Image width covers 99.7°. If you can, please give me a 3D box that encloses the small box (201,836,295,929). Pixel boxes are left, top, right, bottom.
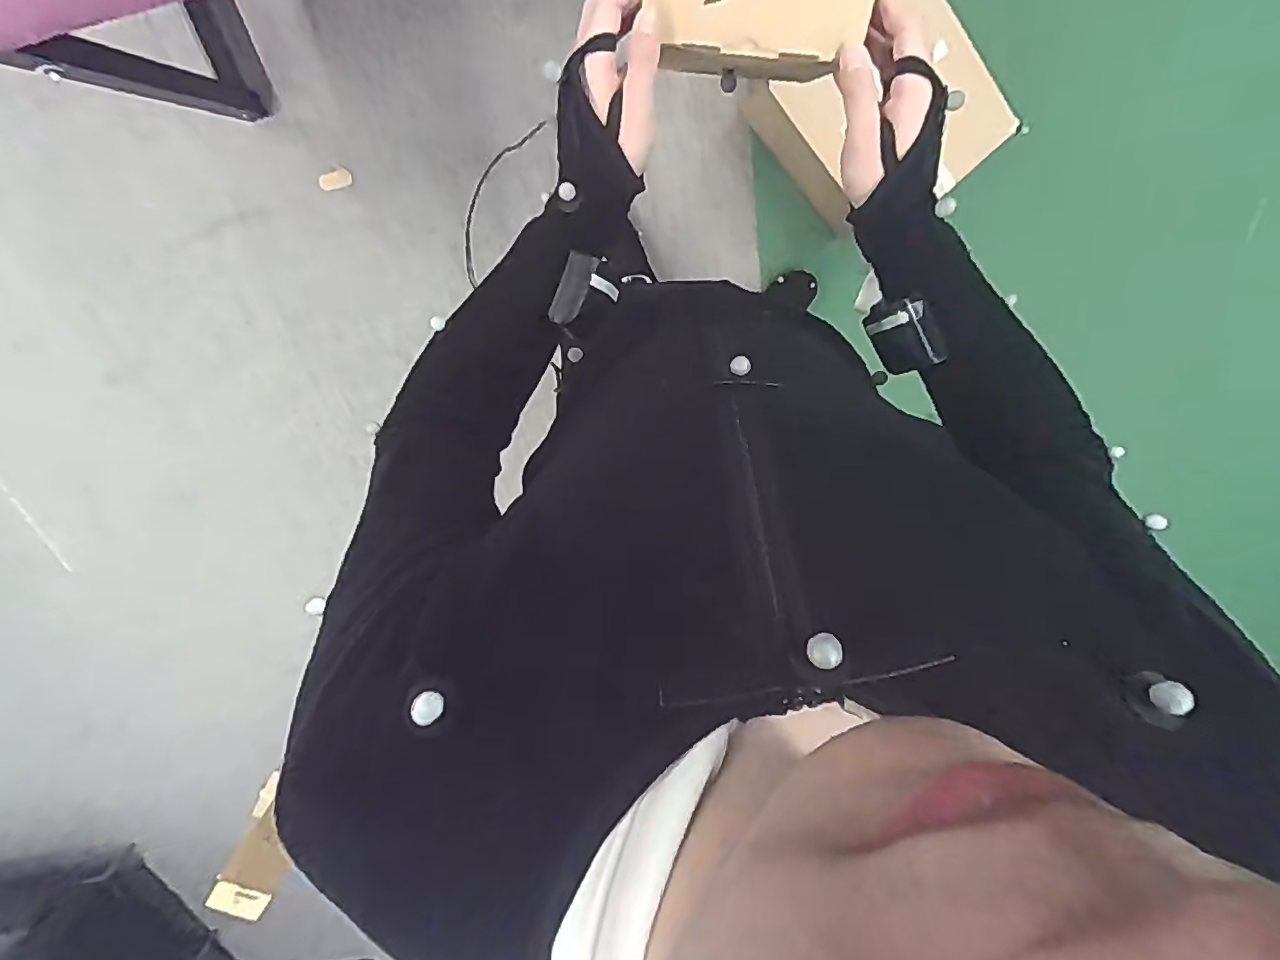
[{"bbox_3d":[-1.267,1.303,1.758,0.168,0.176,0.179,31,113,-13],"label":"small box"}]

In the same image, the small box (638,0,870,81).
[{"bbox_3d":[0.088,-0.433,0.418,0.168,0.176,0.179,5,122,-1],"label":"small box"}]
